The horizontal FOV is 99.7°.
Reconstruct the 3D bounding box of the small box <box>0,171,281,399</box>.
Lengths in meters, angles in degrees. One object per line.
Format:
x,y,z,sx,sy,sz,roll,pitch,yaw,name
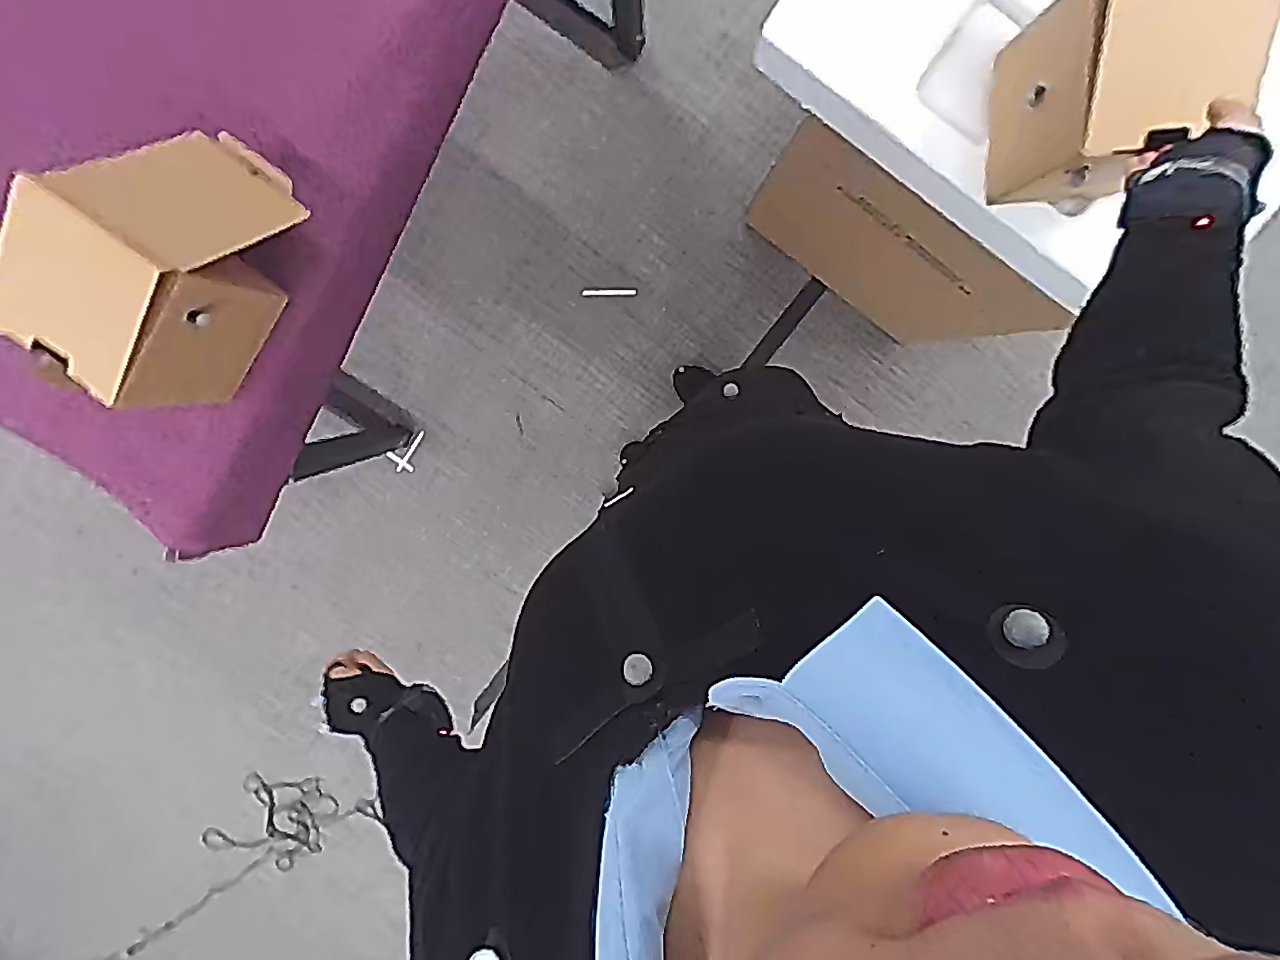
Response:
-0.582,-0.218,0.650,0.168,0.176,0.179,37,101,-4,small box
